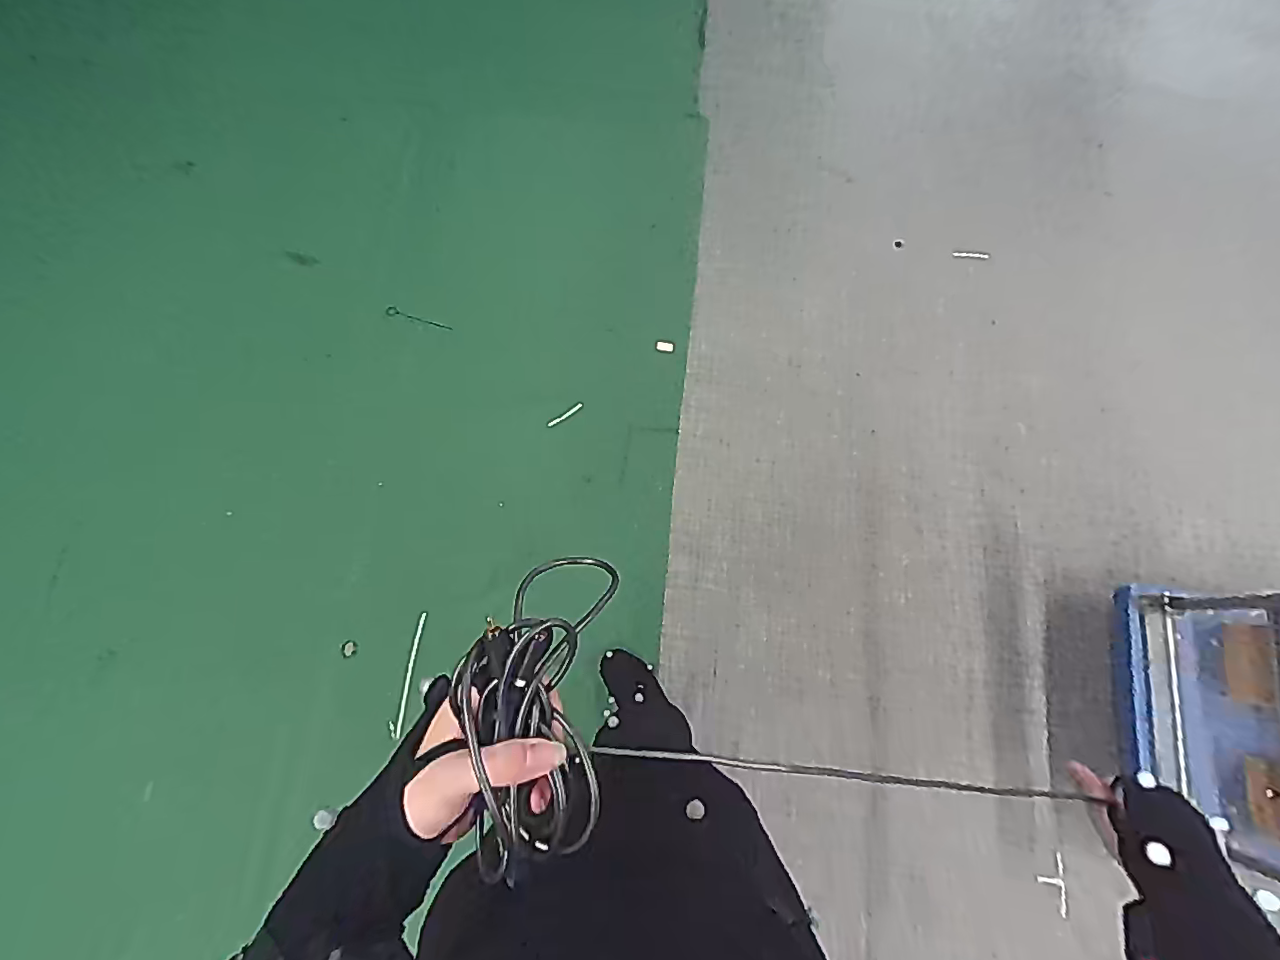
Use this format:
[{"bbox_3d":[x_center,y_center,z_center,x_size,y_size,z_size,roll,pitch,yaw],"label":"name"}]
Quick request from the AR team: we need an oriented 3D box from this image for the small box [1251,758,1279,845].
[{"bbox_3d":[1.397,0.671,1.074,0.179,0.176,0.168,9,75,5],"label":"small box"}]
